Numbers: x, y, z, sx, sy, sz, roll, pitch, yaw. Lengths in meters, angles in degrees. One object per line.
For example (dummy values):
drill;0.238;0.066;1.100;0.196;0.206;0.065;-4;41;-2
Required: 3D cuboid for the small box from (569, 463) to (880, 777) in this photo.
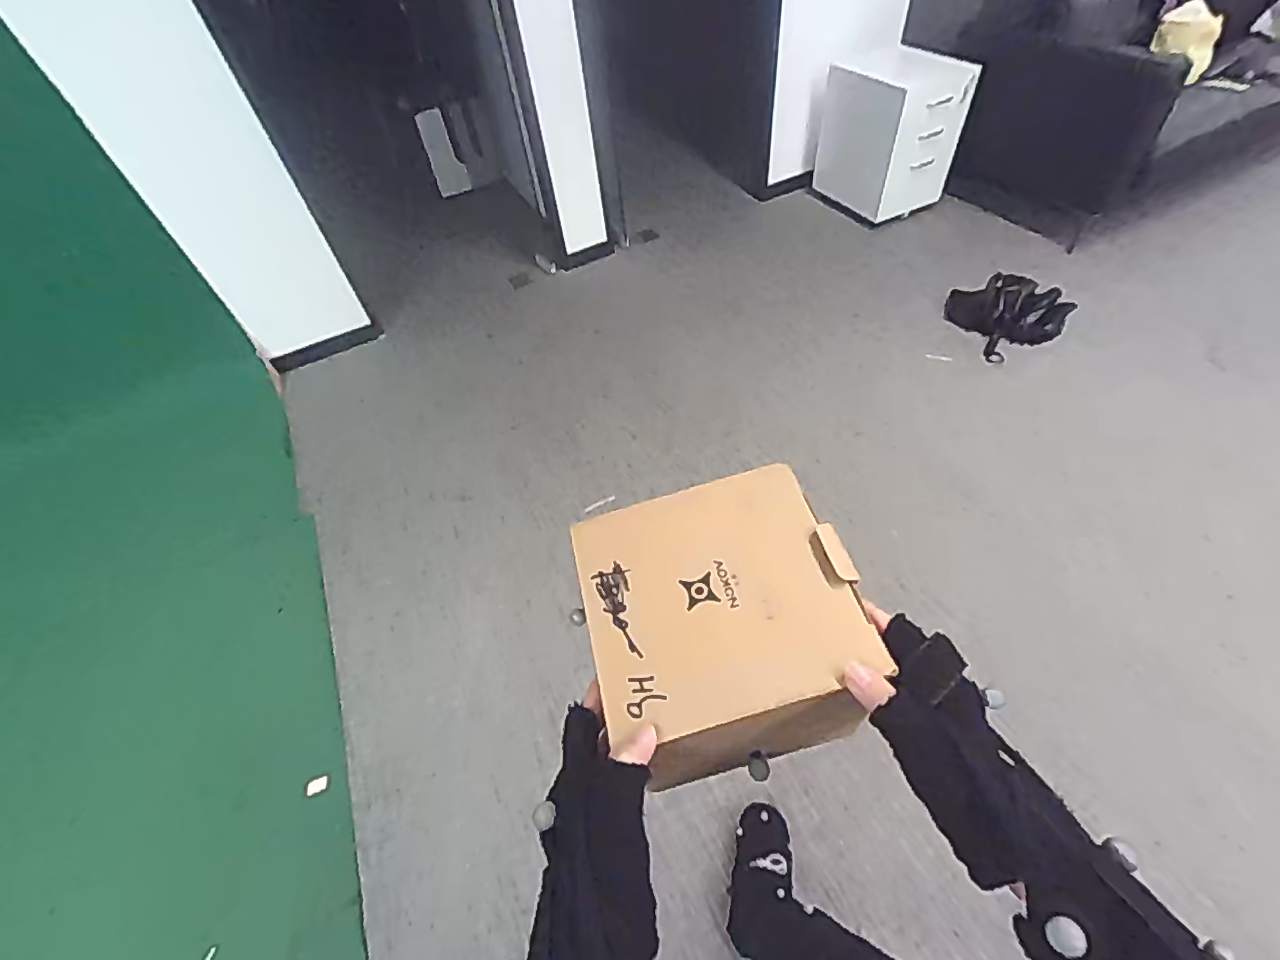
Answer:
small box;0.056;0.117;0.430;0.179;0.176;0.168;-15;52;0
